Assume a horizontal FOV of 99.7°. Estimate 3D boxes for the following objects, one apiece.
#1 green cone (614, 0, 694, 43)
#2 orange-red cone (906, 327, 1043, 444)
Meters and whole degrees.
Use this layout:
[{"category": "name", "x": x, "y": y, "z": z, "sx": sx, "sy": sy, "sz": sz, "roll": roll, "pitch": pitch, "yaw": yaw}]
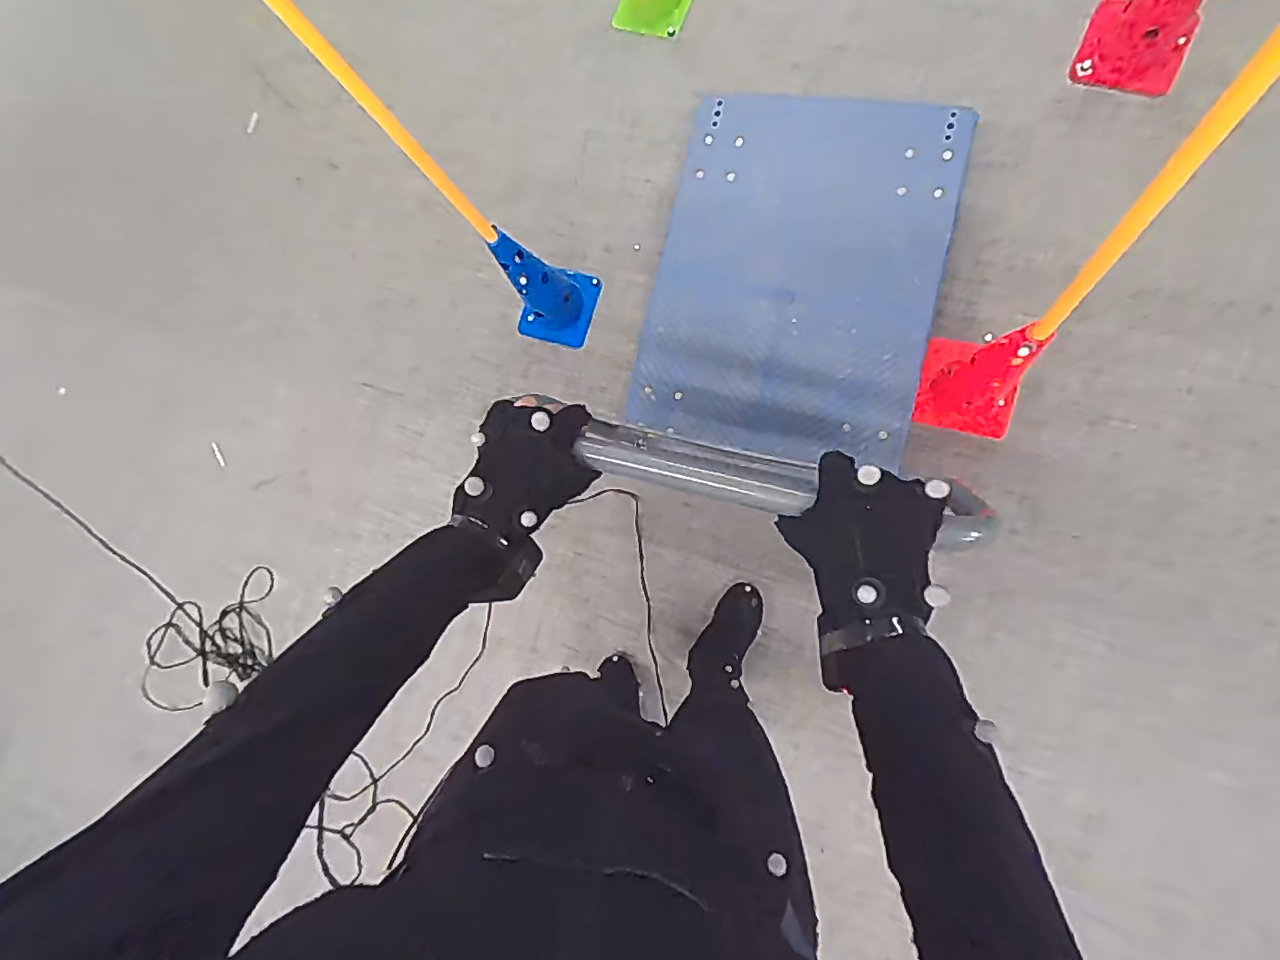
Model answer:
[{"category": "green cone", "x": 0.004, "y": -1.314, "z": 1.311, "sx": 0.202, "sy": 0.368, "sz": 0.200, "roll": 22, "pitch": 90, "yaw": 15}, {"category": "orange-red cone", "x": 0.677, "y": -0.210, "z": 1.048, "sx": 0.199, "sy": 0.360, "sz": 0.198, "roll": 17, "pitch": 88, "yaw": 16}]
